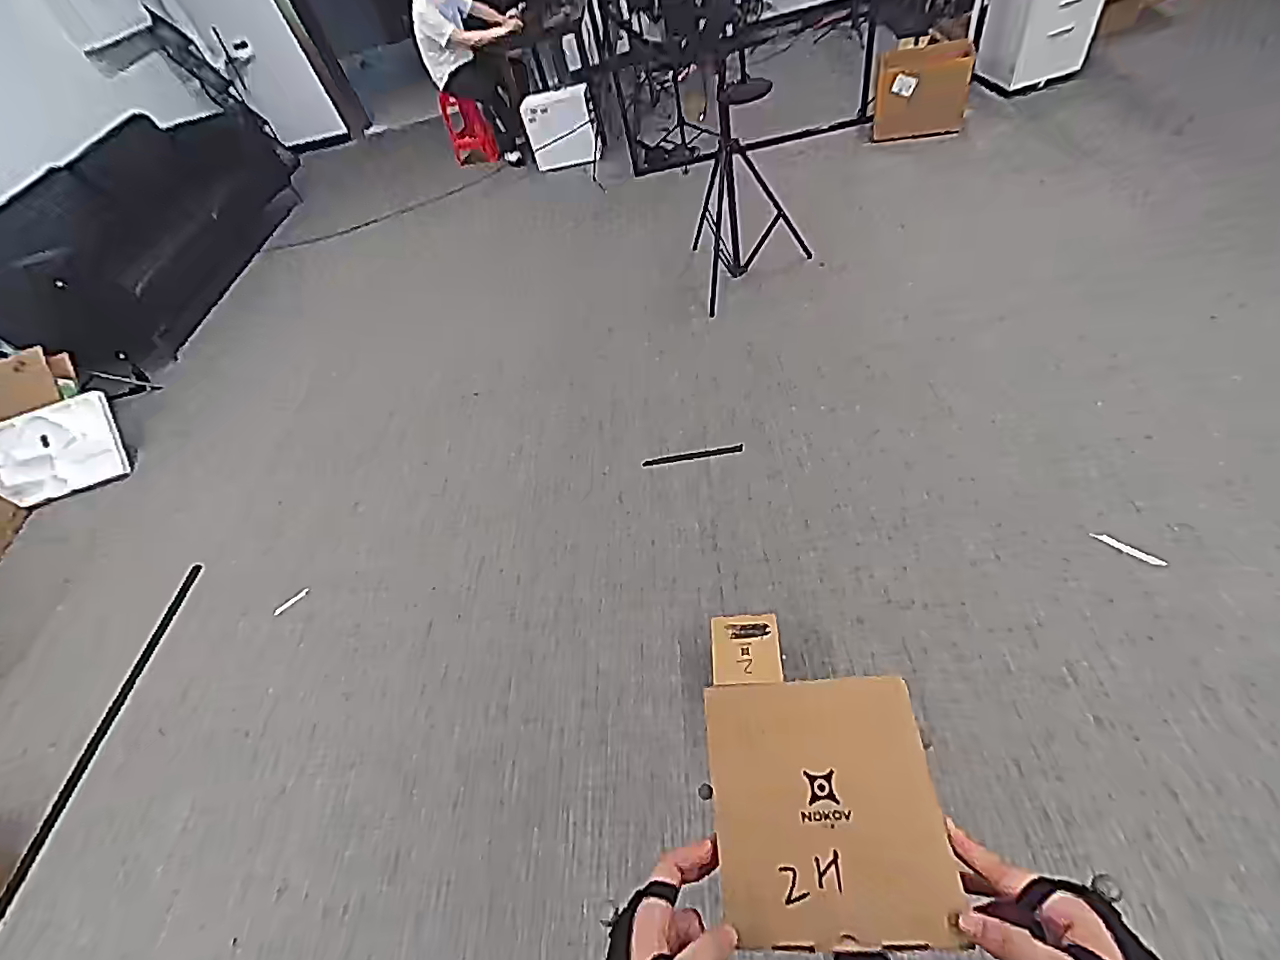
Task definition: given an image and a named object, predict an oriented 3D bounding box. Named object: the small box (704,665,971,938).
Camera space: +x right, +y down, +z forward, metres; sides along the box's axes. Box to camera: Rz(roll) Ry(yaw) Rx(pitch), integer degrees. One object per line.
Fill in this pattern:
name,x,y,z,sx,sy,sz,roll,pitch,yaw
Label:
small box,0.150,0.276,0.475,0.168,0.176,0.179,-8,57,9
